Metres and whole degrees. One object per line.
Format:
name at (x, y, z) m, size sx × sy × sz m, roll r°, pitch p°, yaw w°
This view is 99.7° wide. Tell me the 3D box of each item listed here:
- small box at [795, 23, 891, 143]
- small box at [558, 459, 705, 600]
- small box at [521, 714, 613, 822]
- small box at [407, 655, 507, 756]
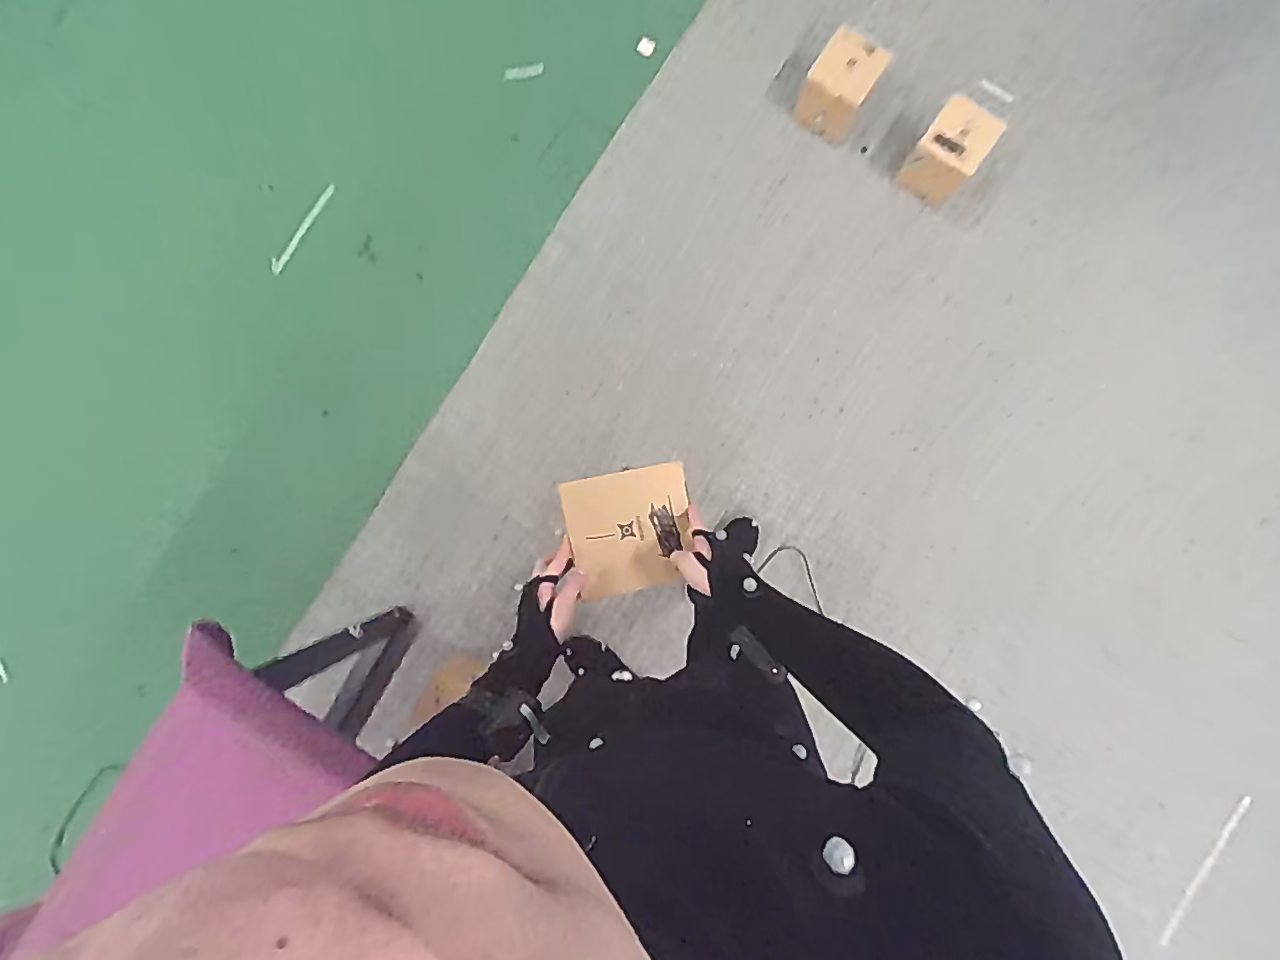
small box at (0.553, -1.093, 1.507) m, size 0.168 × 0.176 × 0.179 m, roll 34°, pitch 90°, yaw 3°
small box at (-0.022, 0.063, 0.801) m, size 0.179 × 0.176 × 0.168 m, roll -11°, pitch 92°, yaw -9°
small box at (-0.190, 0.770, 1.473) m, size 0.179 × 0.176 × 0.168 m, roll 32°, pitch 90°, yaw 2°
small box at (-0.492, 0.609, 1.488) m, size 0.179 × 0.176 × 0.168 m, roll 29°, pitch 89°, yaw 3°
